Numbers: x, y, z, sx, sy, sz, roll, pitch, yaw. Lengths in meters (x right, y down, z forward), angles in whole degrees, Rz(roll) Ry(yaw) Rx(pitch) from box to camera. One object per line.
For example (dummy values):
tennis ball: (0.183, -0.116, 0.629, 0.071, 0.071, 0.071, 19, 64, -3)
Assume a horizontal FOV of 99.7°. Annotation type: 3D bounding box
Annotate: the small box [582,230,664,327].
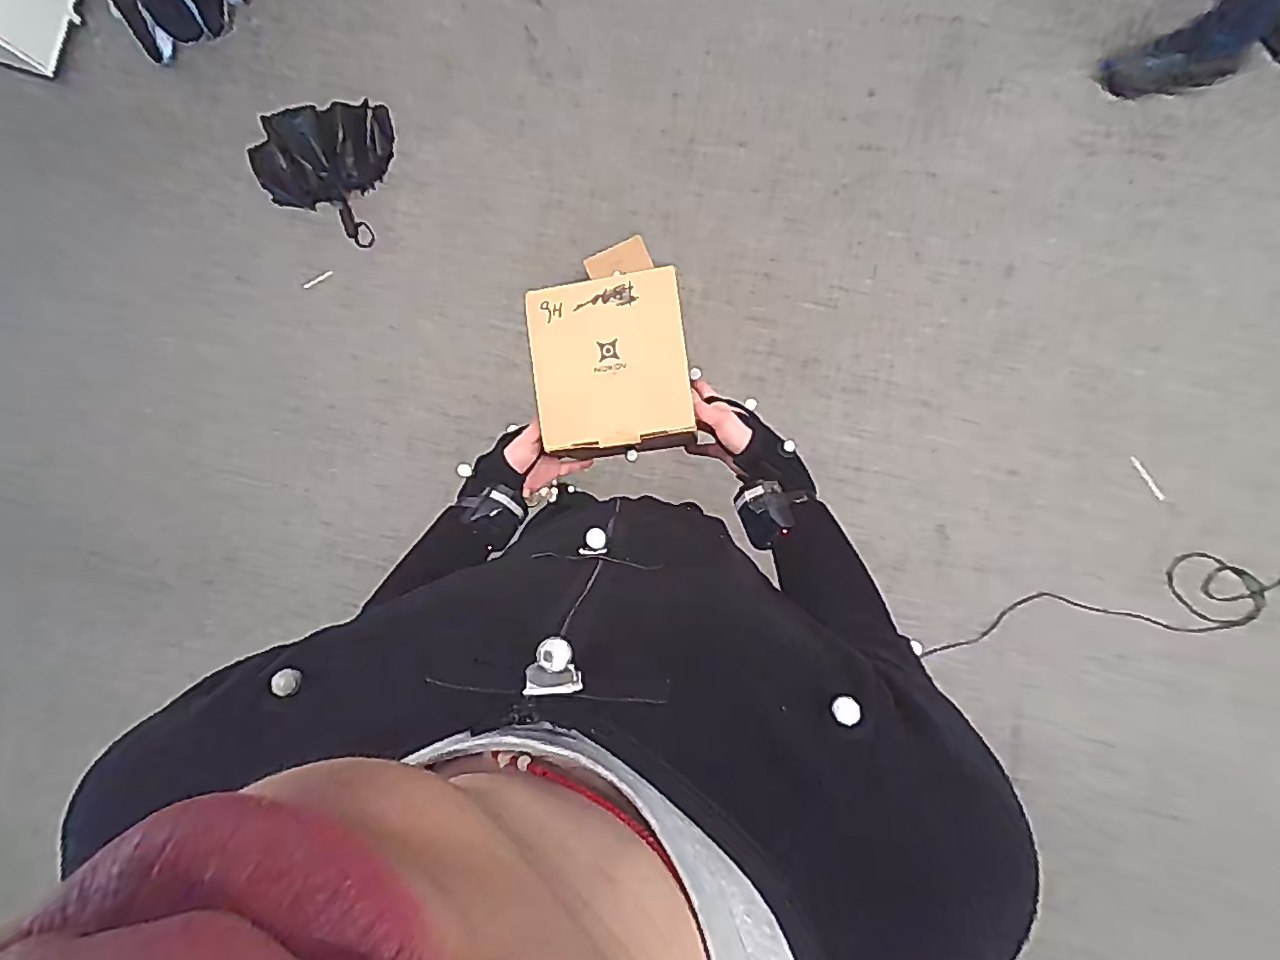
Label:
small box: (-0.039, -0.539, 1.484, 0.168, 0.176, 0.179, -25, 88, 3)
